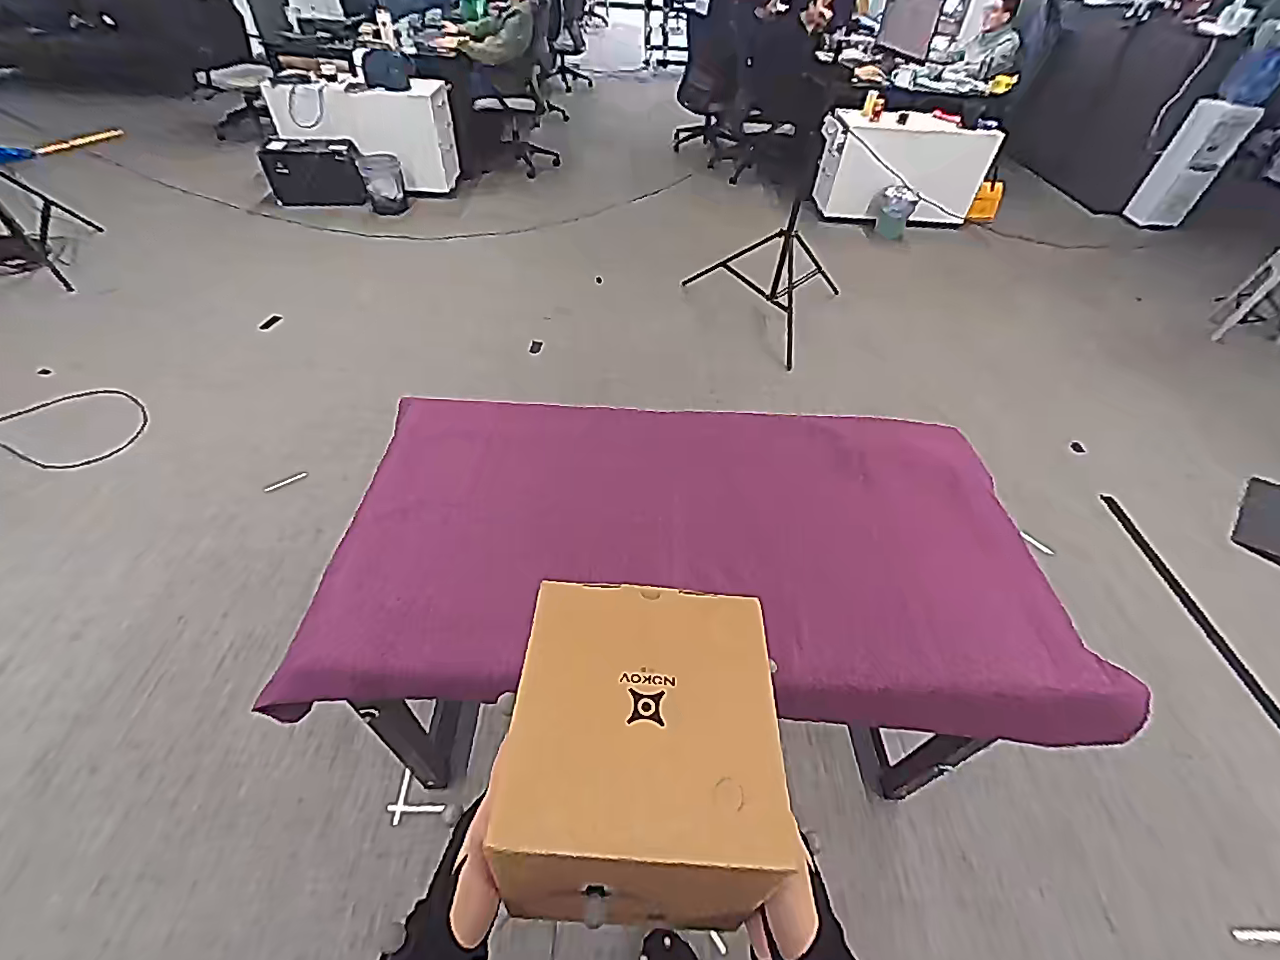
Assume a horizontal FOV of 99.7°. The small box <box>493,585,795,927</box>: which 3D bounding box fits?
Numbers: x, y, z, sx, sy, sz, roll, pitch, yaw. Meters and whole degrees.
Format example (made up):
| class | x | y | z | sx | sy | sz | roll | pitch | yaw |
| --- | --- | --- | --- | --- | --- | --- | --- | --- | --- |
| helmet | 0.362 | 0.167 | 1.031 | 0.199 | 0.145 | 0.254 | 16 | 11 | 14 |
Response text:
| class | x | y | z | sx | sy | sz | roll | pitch | yaw |
| --- | --- | --- | --- | --- | --- | --- | --- | --- | --- |
| small box | 0.001 | 0.203 | 0.401 | 0.168 | 0.176 | 0.179 | 5 | 40 | -1 |
